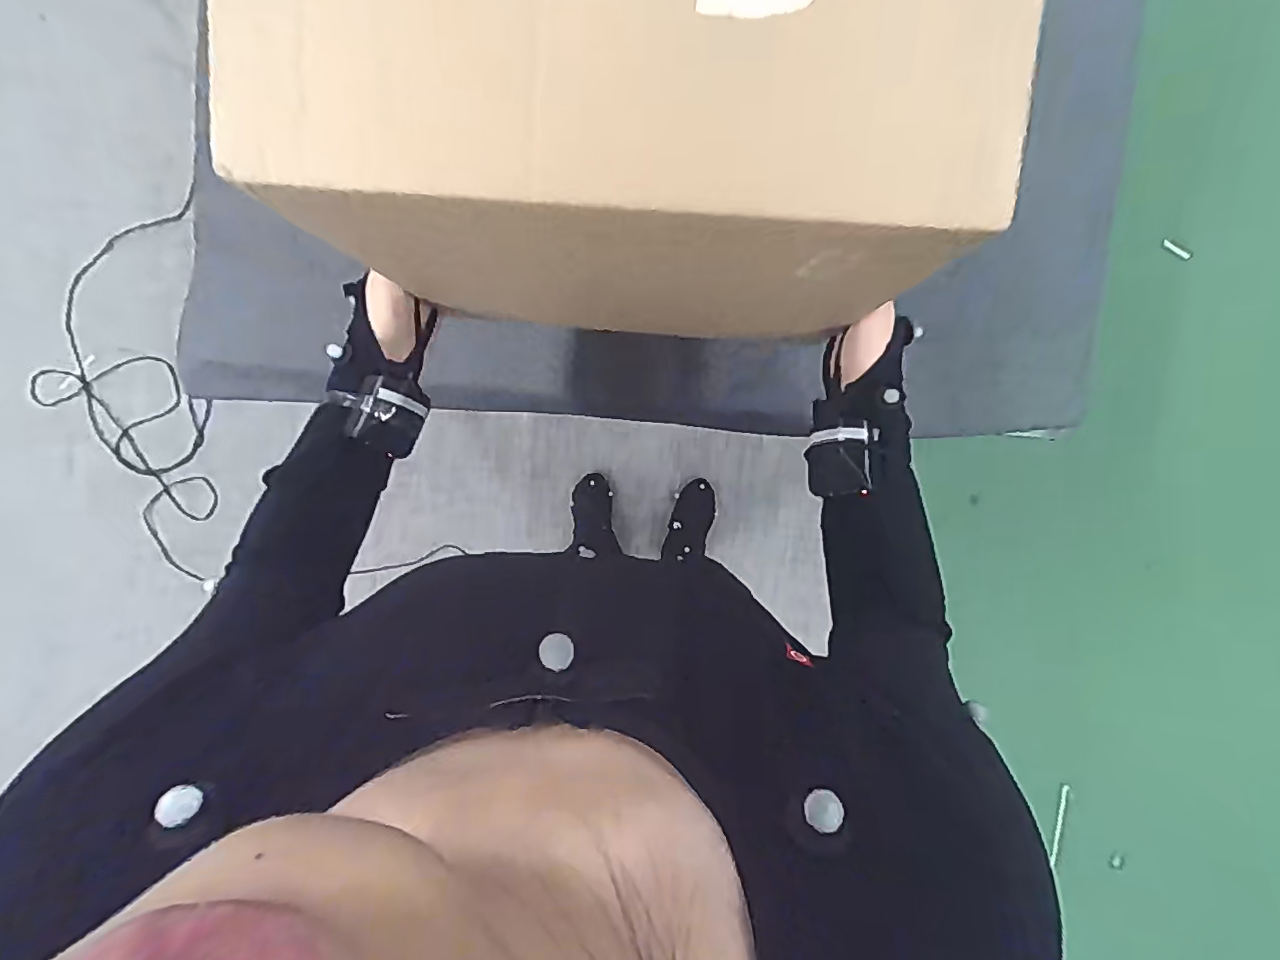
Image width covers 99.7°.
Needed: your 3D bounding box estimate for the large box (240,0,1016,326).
[{"bbox_3d":[-0.002,-0.313,0.421,0.408,0.320,0.320,4,95,1],"label":"large box"}]
